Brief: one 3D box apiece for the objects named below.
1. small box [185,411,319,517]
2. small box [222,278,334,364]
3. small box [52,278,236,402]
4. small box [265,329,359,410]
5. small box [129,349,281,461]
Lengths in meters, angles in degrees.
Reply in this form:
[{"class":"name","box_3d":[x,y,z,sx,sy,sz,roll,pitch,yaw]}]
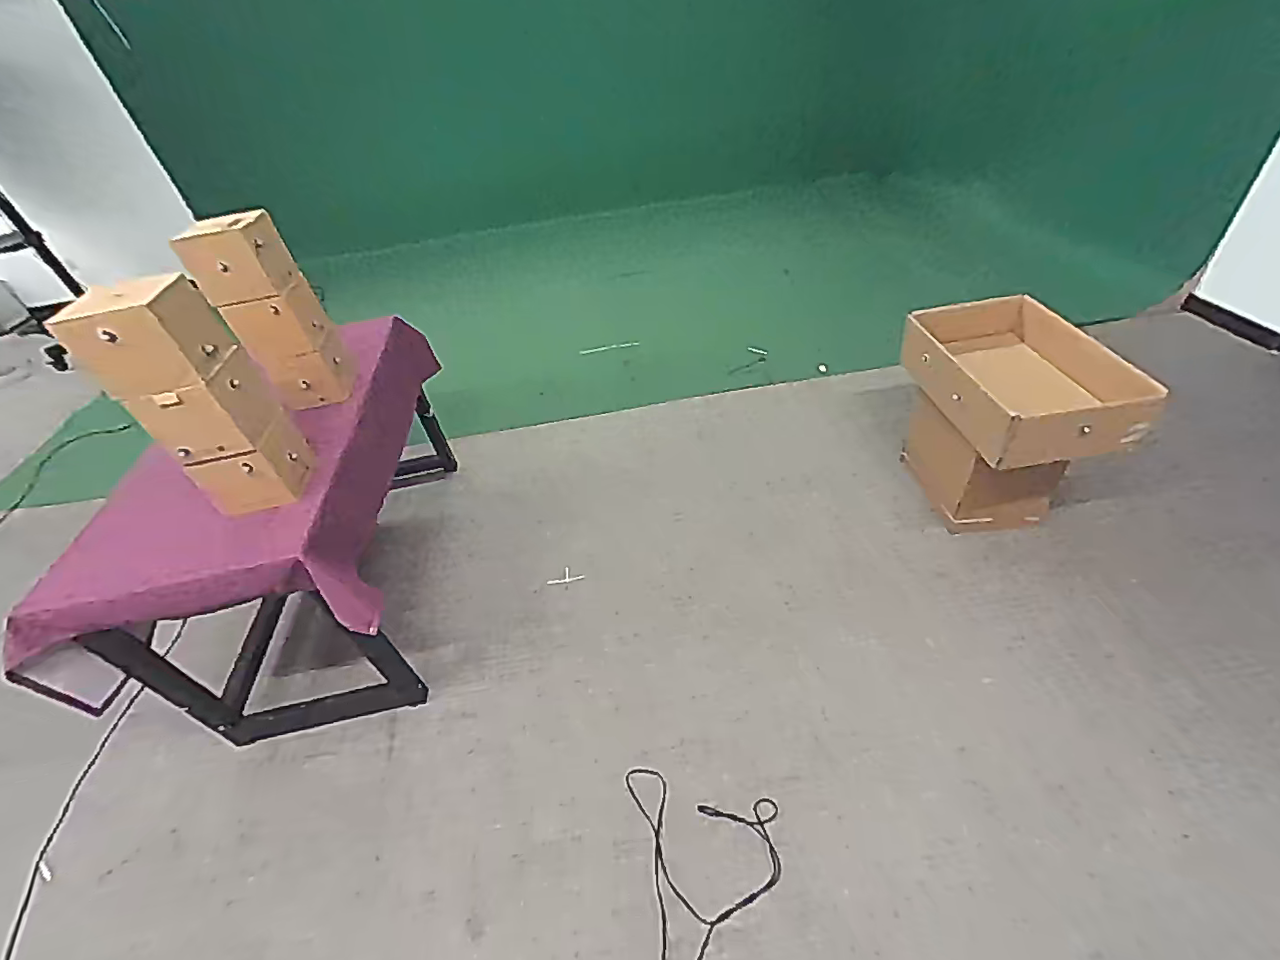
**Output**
[{"class":"small box","box_3d":[-0.908,-0.036,1.289,0.179,0.176,0.168,-12,41,-2]},{"class":"small box","box_3d":[-1.002,-0.442,1.513,0.179,0.176,0.168,-11,41,-2]},{"class":"small box","box_3d":[-0.961,-0.274,1.070,0.179,0.176,0.168,-13,42,-4]},{"class":"small box","box_3d":[-0.973,-0.326,1.624,0.168,0.176,0.179,-13,42,-3]},{"class":"small box","box_3d":[-0.930,-0.157,1.179,0.168,0.176,0.179,-12,41,-2]}]
